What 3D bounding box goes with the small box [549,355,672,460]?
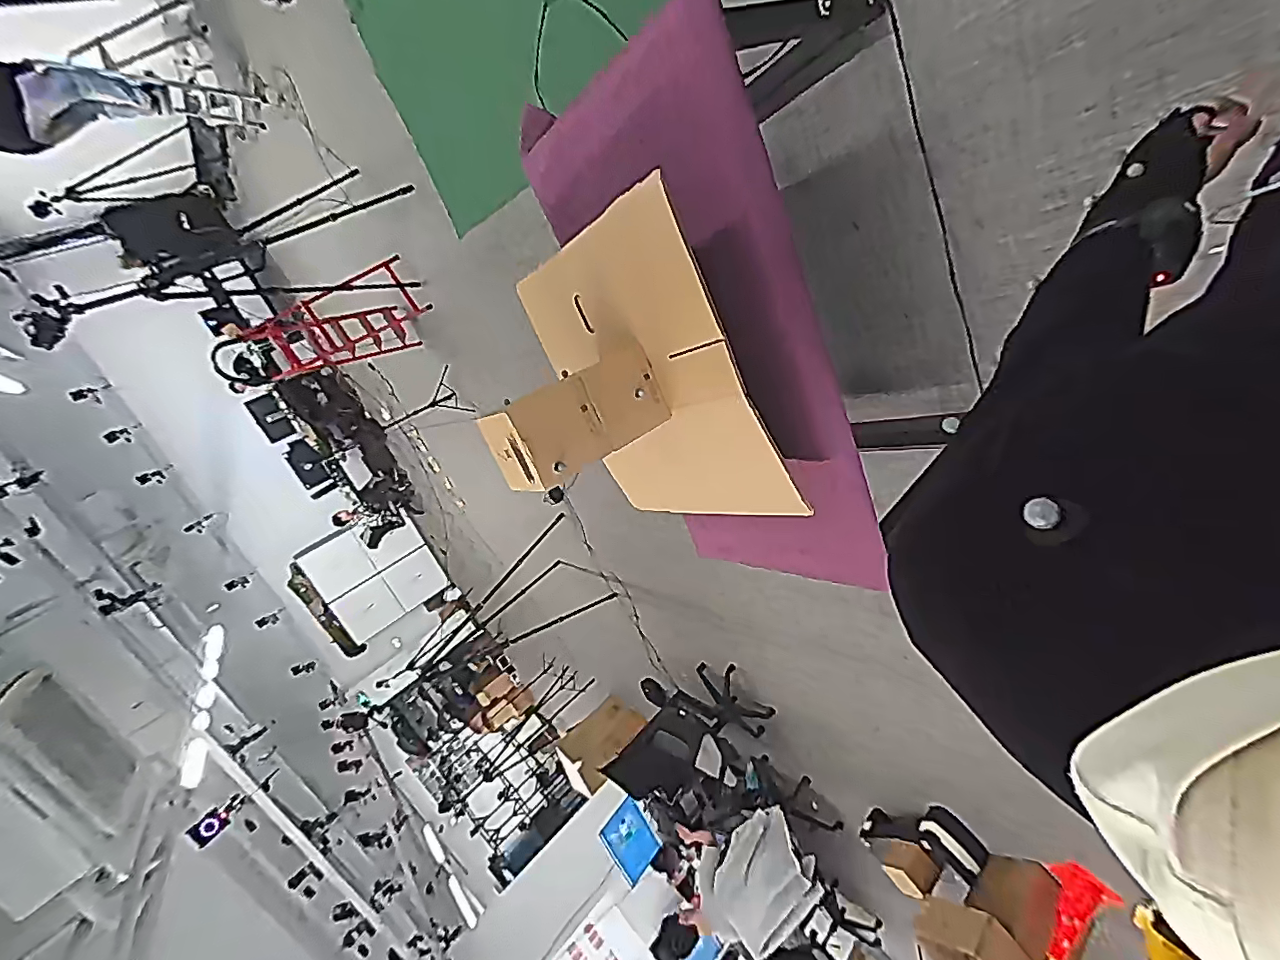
[{"bbox_3d":[-0.062,-0.154,1.168,0.179,0.176,0.168,-1,118,54],"label":"small box"}]
